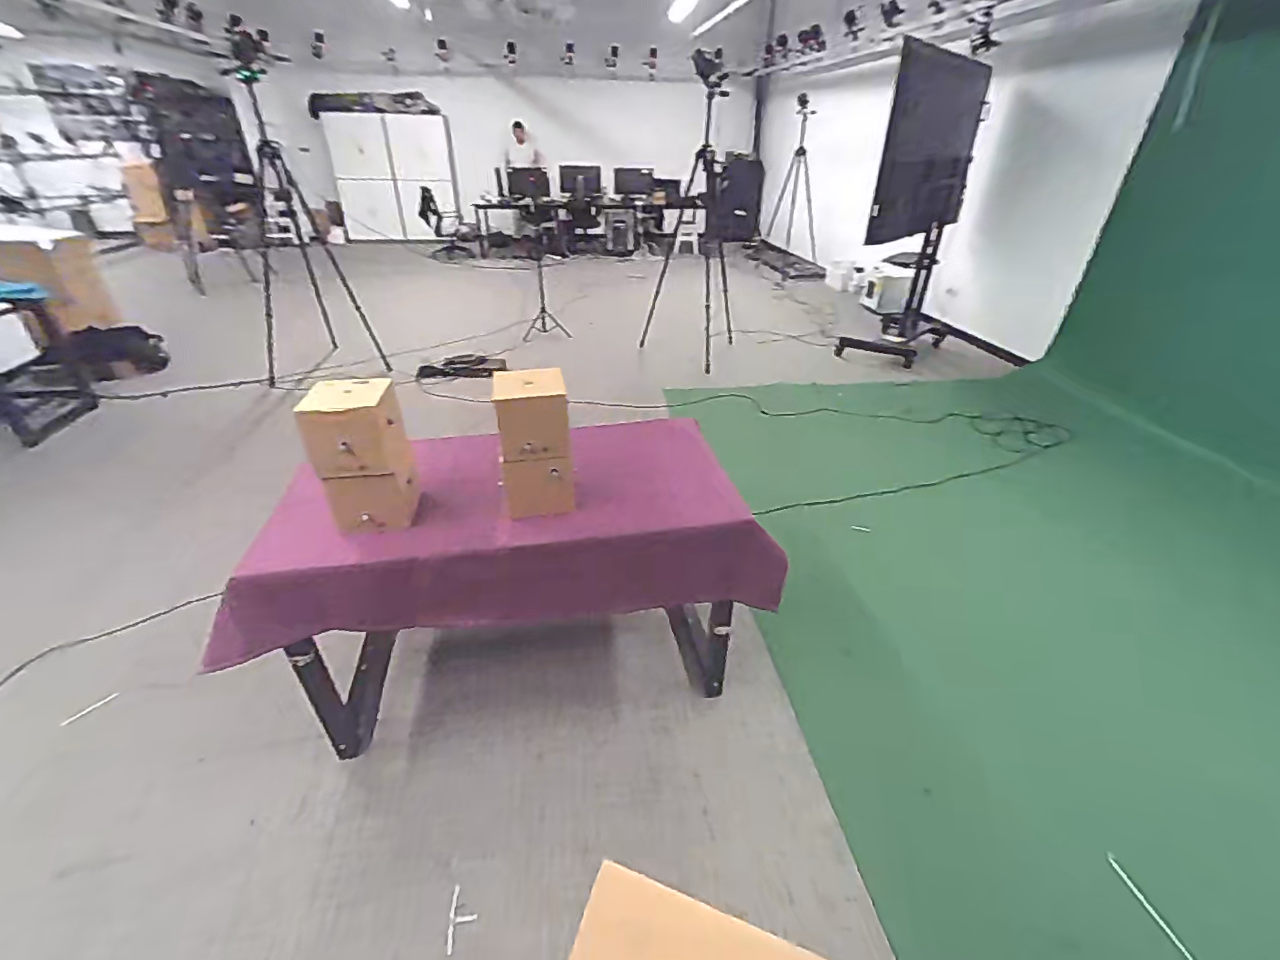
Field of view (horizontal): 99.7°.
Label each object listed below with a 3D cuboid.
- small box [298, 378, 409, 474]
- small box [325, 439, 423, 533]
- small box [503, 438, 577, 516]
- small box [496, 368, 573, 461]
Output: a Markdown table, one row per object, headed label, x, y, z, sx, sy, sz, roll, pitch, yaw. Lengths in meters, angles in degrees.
| label | x | y | z | sx | sy | sz | roll | pitch | yaw |
| --- | --- | --- | --- | --- | --- | --- | --- | --- | --- |
| small box | -0.652 | -0.122 | 1.256 | 0.168 | 0.176 | 0.179 | -4 | 33 | -8 |
| small box | -0.651 | 0.013 | 1.350 | 0.168 | 0.176 | 0.179 | -5 | 33 | -8 |
| small box | -0.258 | -0.022 | 1.411 | 0.179 | 0.176 | 0.168 | -6 | 32 | -10 |
| small box | -0.258 | -0.162 | 1.327 | 0.168 | 0.176 | 0.179 | -7 | 33 | -10 |
